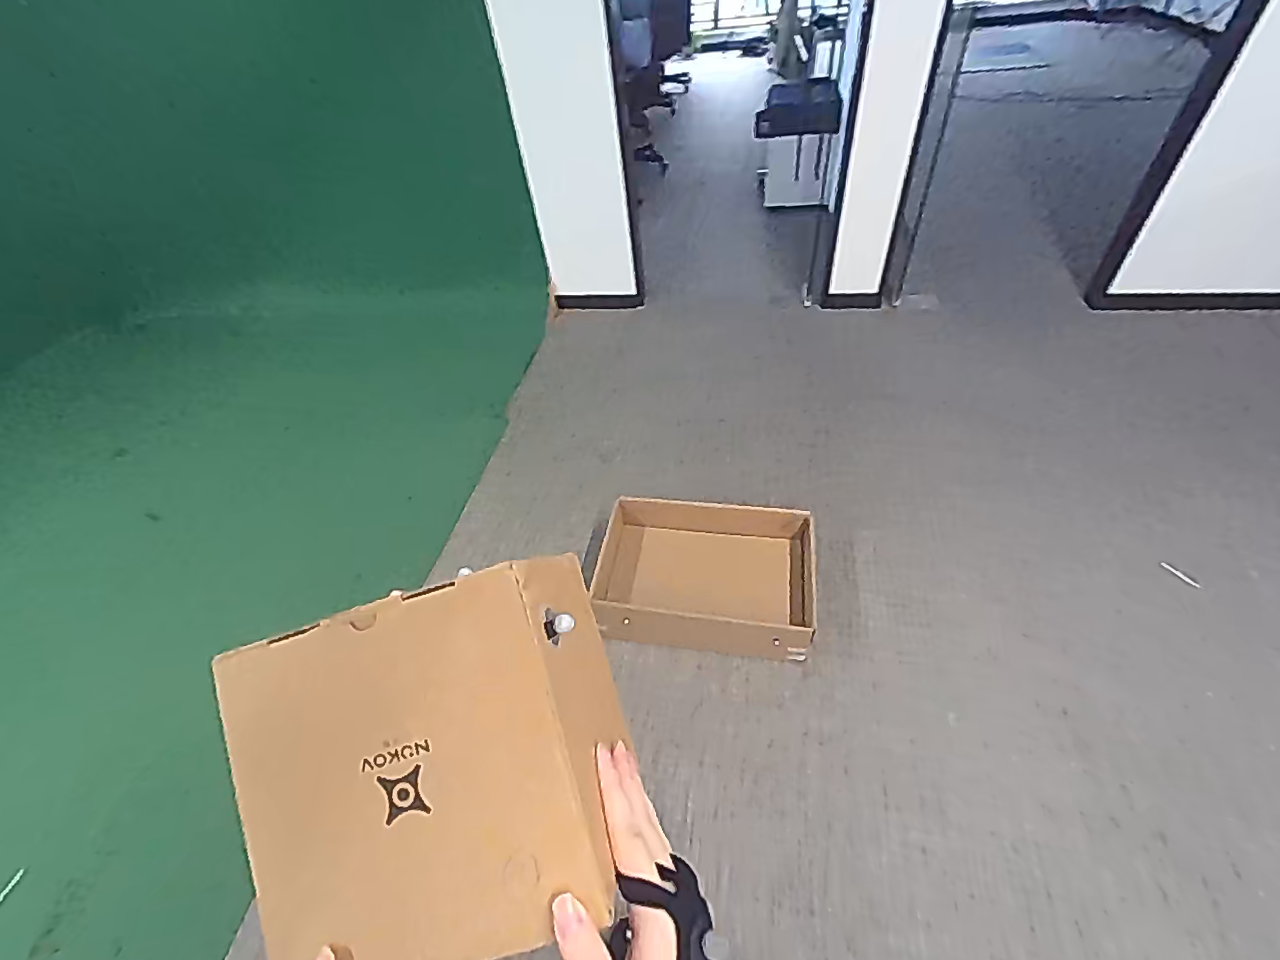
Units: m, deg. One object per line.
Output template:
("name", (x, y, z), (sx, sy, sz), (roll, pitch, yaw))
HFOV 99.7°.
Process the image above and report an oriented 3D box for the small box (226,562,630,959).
("small box", (-0.111, 0.159, 0.351), (0.168, 0.176, 0.179), (-18, 81, 2))
